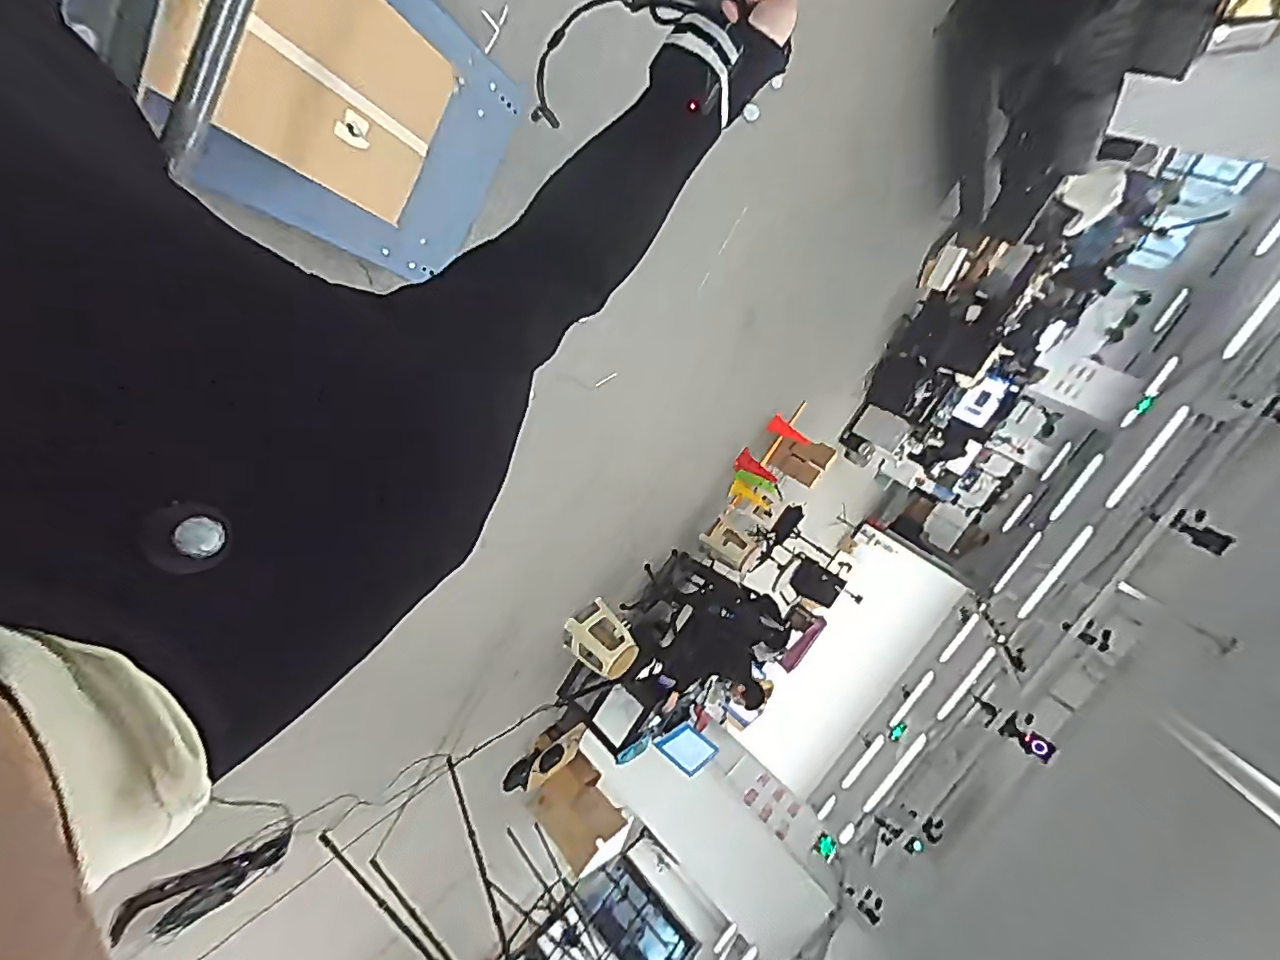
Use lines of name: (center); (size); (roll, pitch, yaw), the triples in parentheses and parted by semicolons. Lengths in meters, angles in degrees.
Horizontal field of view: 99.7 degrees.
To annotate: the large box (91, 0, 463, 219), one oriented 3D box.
large box: (-0.612, -0.740, 0.945); (0.320, 0.320, 0.408); (-58, 153, 11)
